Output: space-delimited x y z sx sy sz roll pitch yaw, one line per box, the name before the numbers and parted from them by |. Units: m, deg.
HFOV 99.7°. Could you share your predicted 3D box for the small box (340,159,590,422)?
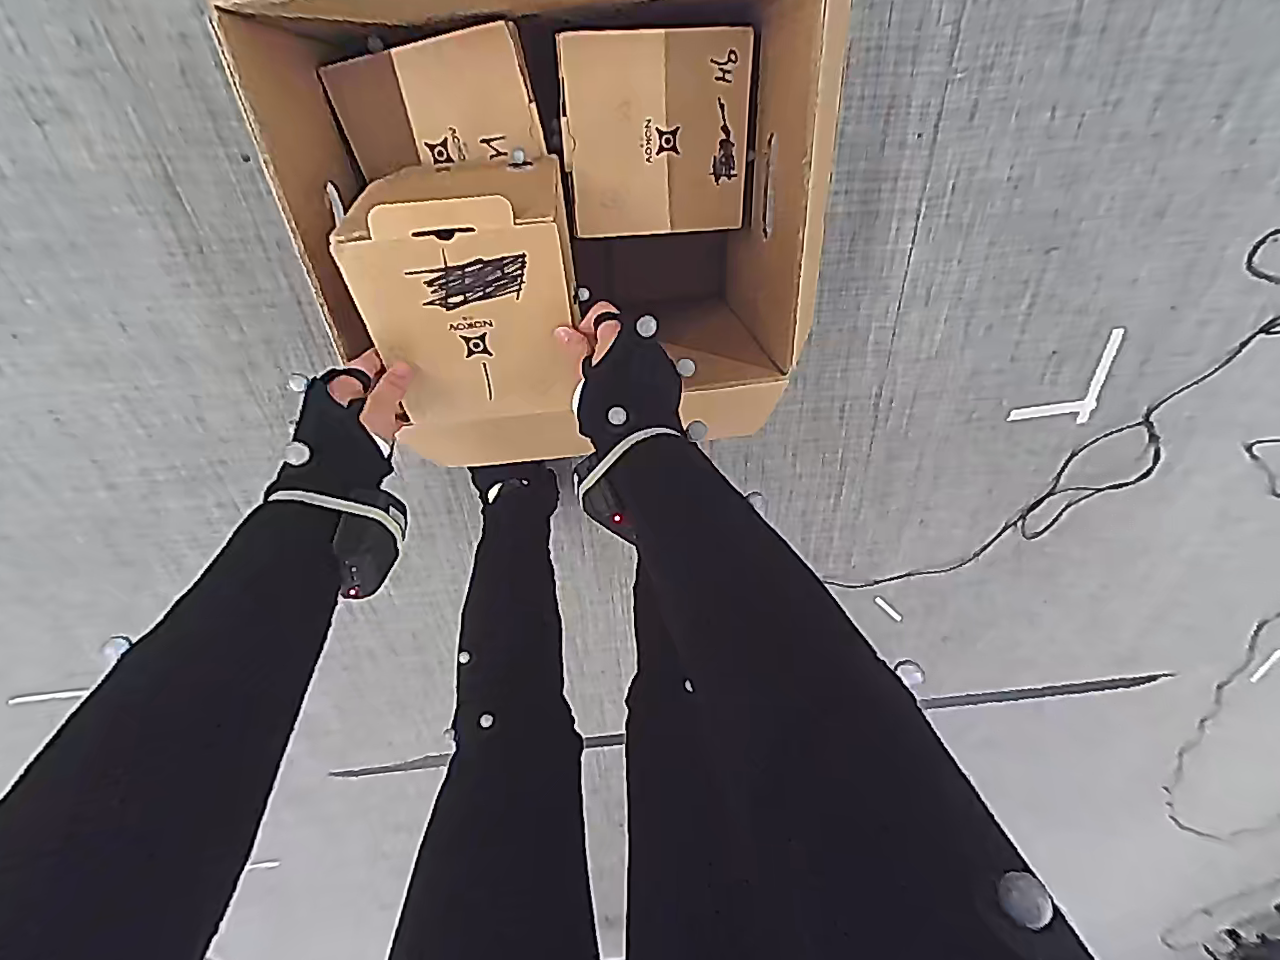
small box | -0.140 -0.179 0.500 0.168 0.176 0.179 -6 136 -3
